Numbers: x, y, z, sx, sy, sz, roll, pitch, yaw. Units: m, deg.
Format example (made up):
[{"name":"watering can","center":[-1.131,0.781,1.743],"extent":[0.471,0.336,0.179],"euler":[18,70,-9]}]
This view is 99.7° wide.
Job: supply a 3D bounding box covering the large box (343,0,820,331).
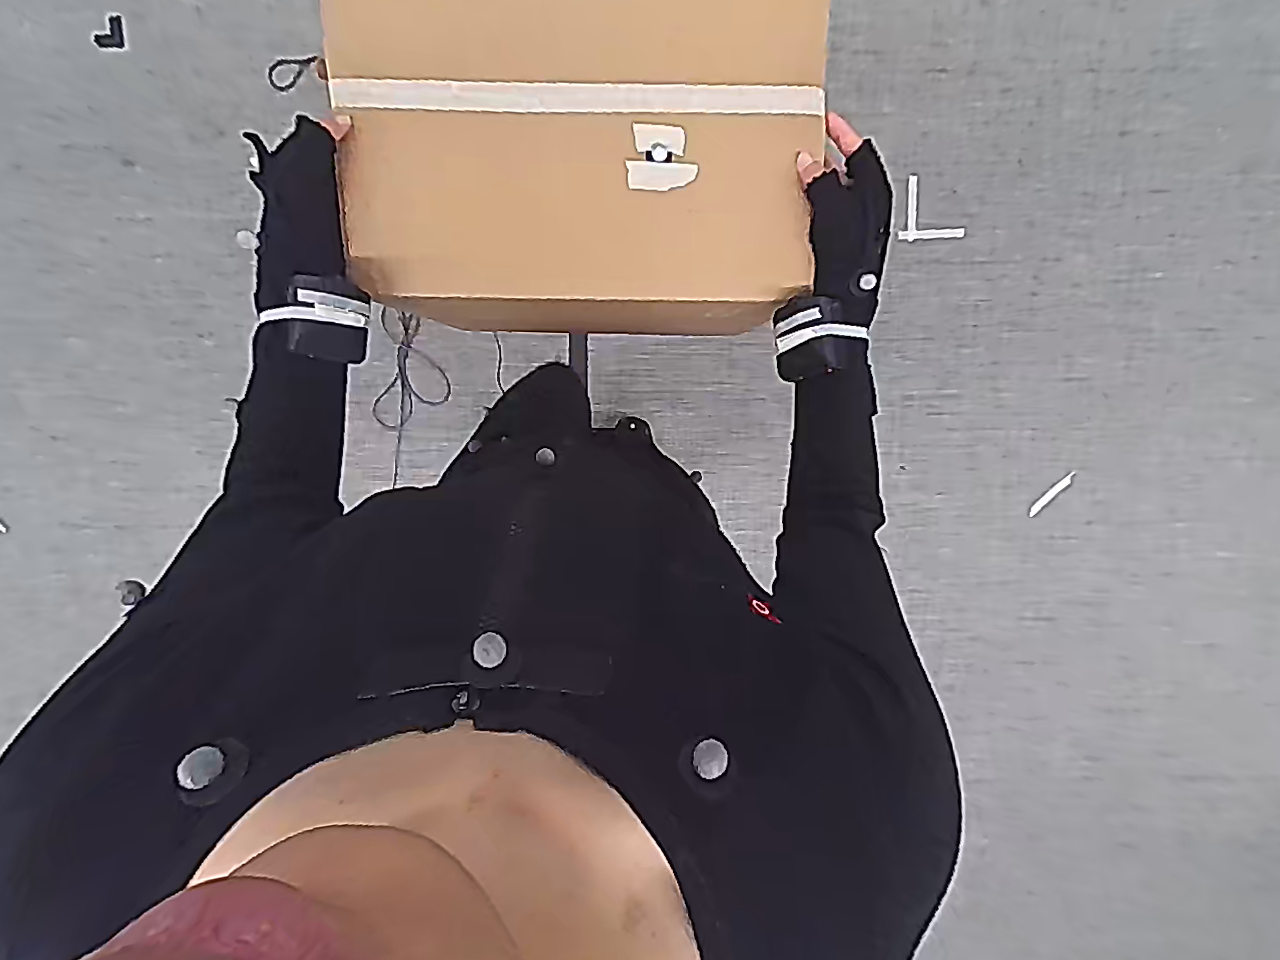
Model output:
[{"name":"large box","center":[-0.052,-0.345,0.609],"extent":[0.408,0.320,0.320],"euler":[0,101,-2]}]
